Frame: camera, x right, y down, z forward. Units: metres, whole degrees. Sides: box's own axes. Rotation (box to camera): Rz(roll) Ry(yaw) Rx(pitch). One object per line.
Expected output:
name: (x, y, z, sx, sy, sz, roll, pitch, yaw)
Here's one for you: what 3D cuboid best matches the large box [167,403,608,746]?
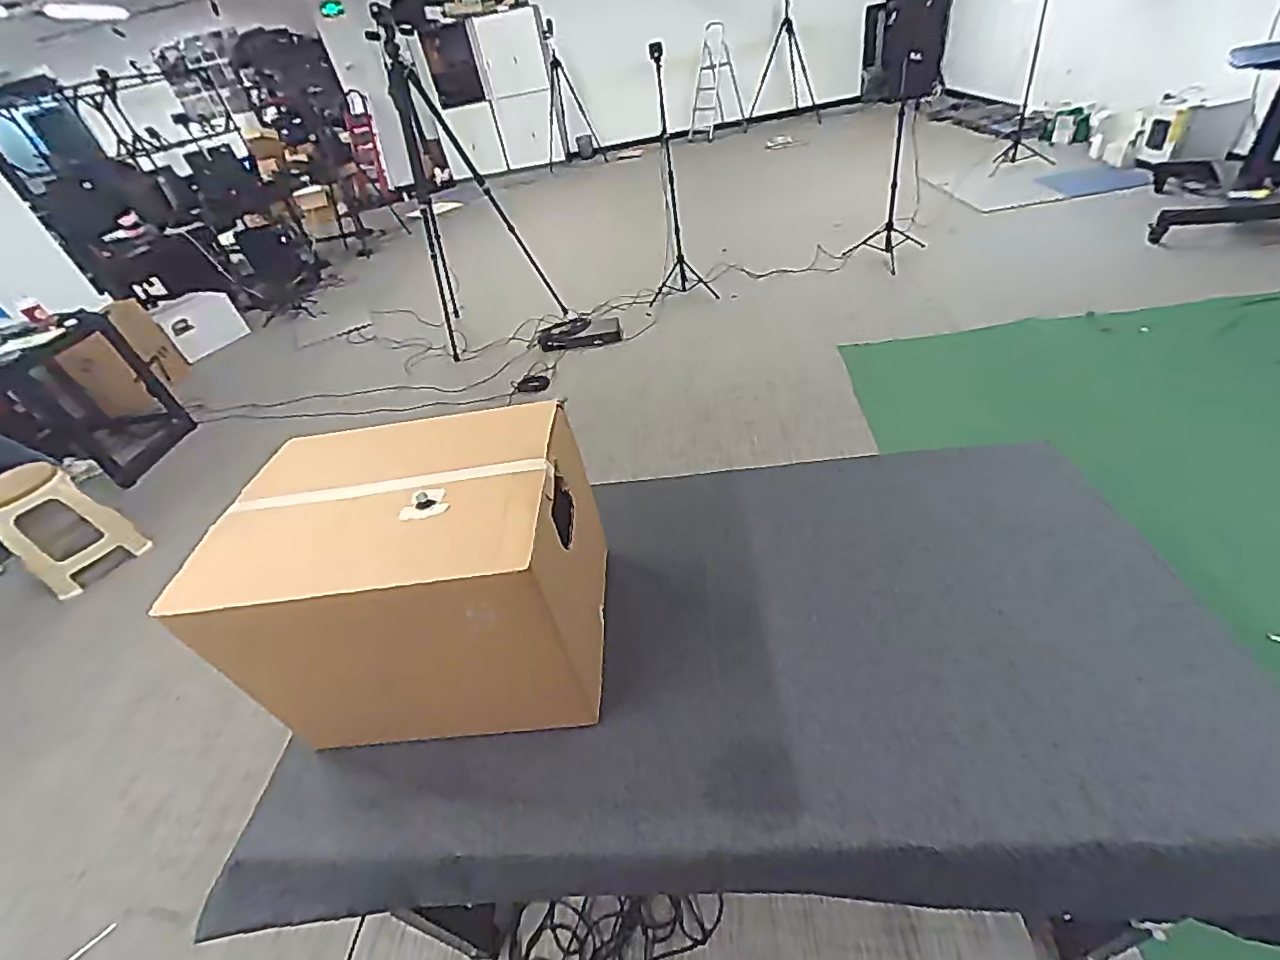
large box: (-0.270, 0.128, 0.742, 0.408, 0.320, 0.320, -7, 40, 4)
